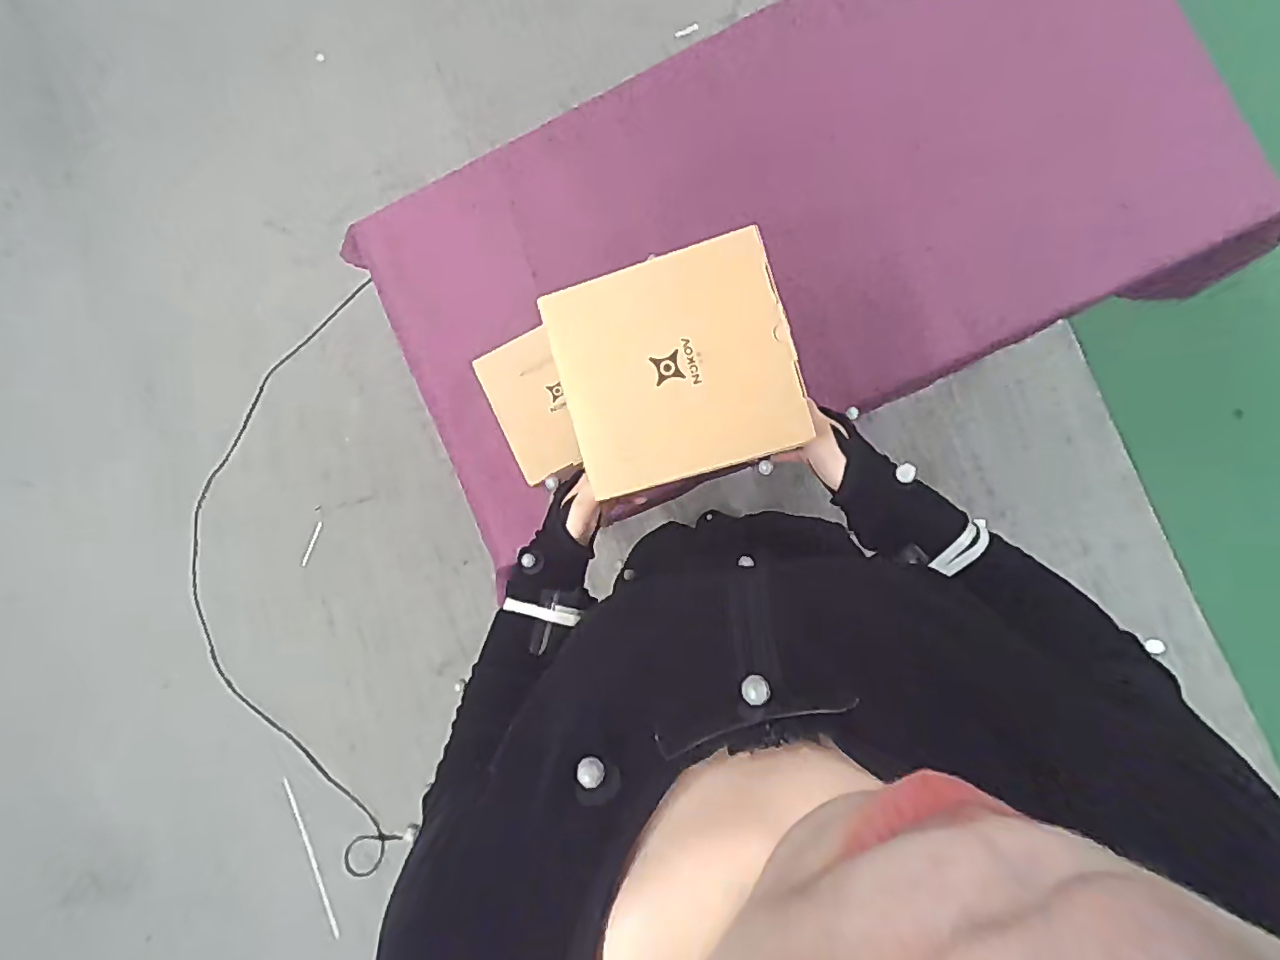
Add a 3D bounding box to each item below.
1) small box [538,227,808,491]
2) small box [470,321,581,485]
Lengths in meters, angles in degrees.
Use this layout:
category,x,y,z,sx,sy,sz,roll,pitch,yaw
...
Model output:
category,x,y,z,sx,sy,sz,roll,pitch,yaw
small box,0.031,-0.088,0.485,0.179,0.176,0.168,-15,89,6
small box,-0.093,-0.103,0.732,0.168,0.176,0.179,-26,84,3
